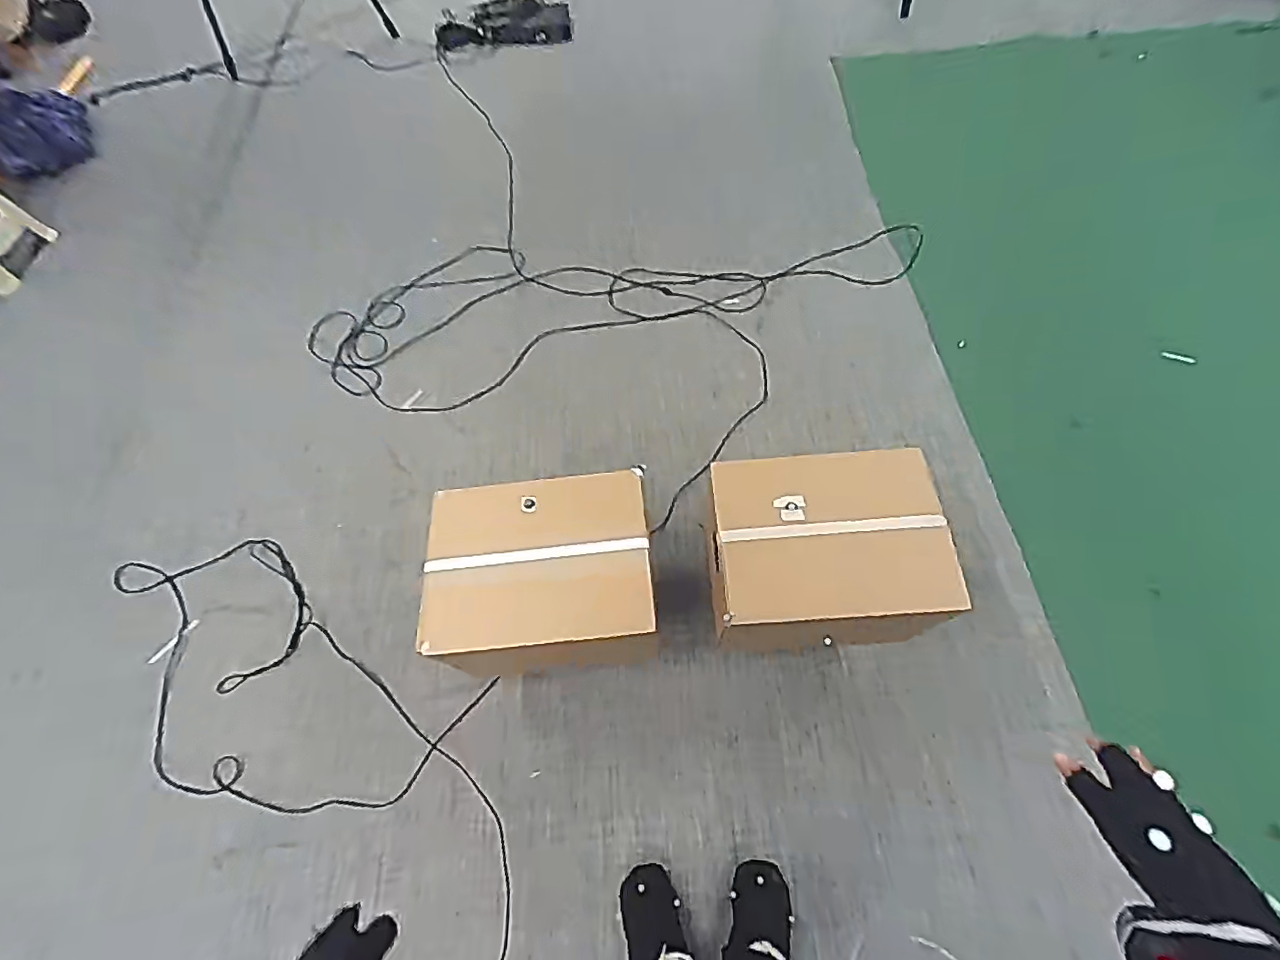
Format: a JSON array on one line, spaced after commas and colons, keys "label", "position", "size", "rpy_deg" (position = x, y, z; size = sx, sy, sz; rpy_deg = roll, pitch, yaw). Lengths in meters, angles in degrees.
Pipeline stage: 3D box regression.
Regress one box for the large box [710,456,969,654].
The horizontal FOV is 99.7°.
[{"label": "large box", "position": [0.366, 0.172, 1.120], "size": [0.408, 0.320, 0.320], "rpy_deg": [-4, 63, 3]}]
